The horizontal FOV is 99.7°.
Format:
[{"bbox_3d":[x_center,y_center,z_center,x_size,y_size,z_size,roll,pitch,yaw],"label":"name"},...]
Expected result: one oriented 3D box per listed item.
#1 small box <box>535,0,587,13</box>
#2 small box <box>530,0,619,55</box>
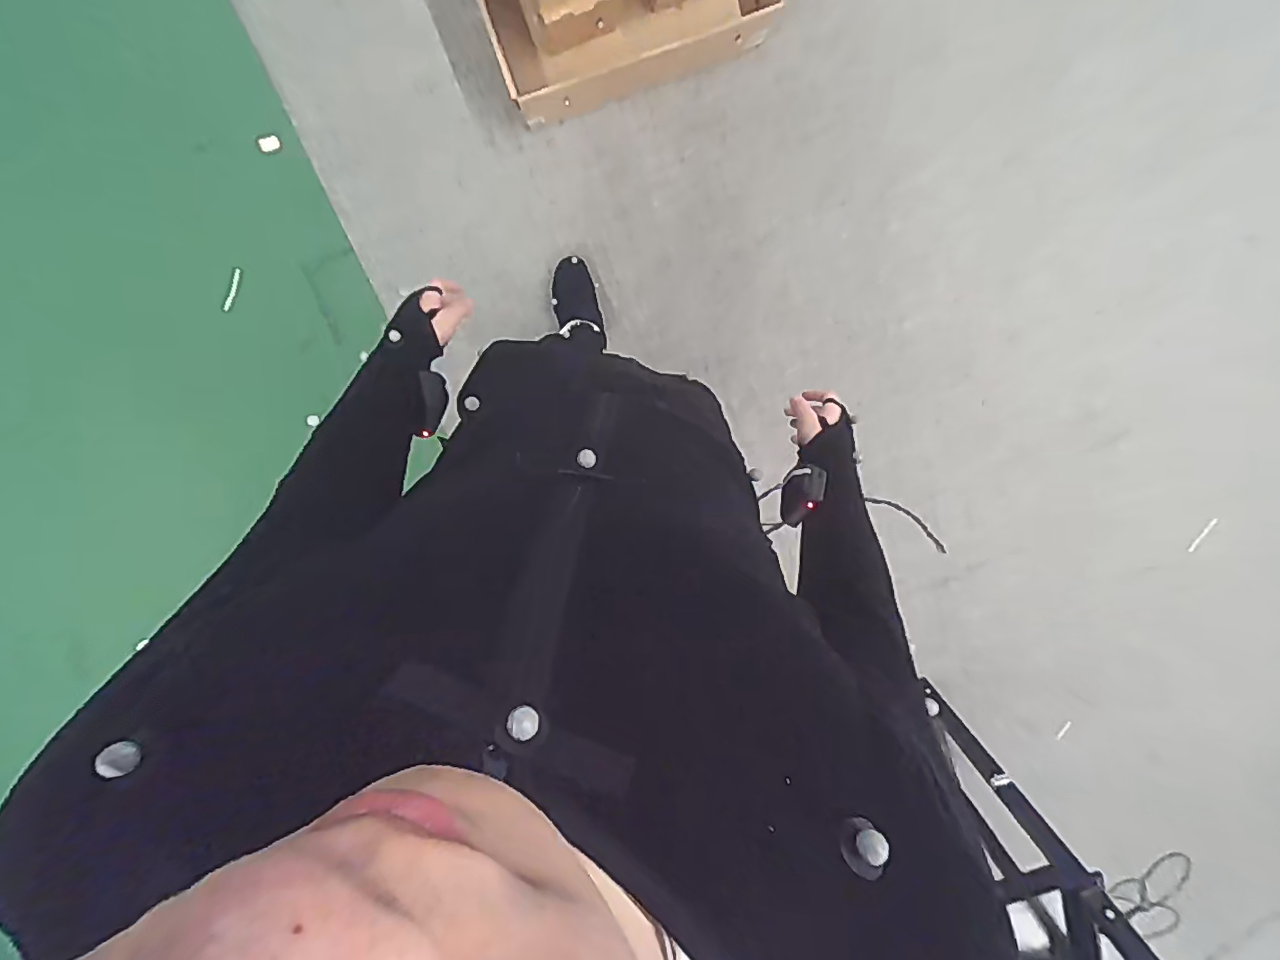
[{"bbox_3d":[-0.142,-1.001,0.983,0.168,0.176,0.179,-22,109,2],"label":"small box"},{"bbox_3d":[-0.150,-1.041,1.140,0.168,0.176,0.179,-21,109,1],"label":"small box"}]
